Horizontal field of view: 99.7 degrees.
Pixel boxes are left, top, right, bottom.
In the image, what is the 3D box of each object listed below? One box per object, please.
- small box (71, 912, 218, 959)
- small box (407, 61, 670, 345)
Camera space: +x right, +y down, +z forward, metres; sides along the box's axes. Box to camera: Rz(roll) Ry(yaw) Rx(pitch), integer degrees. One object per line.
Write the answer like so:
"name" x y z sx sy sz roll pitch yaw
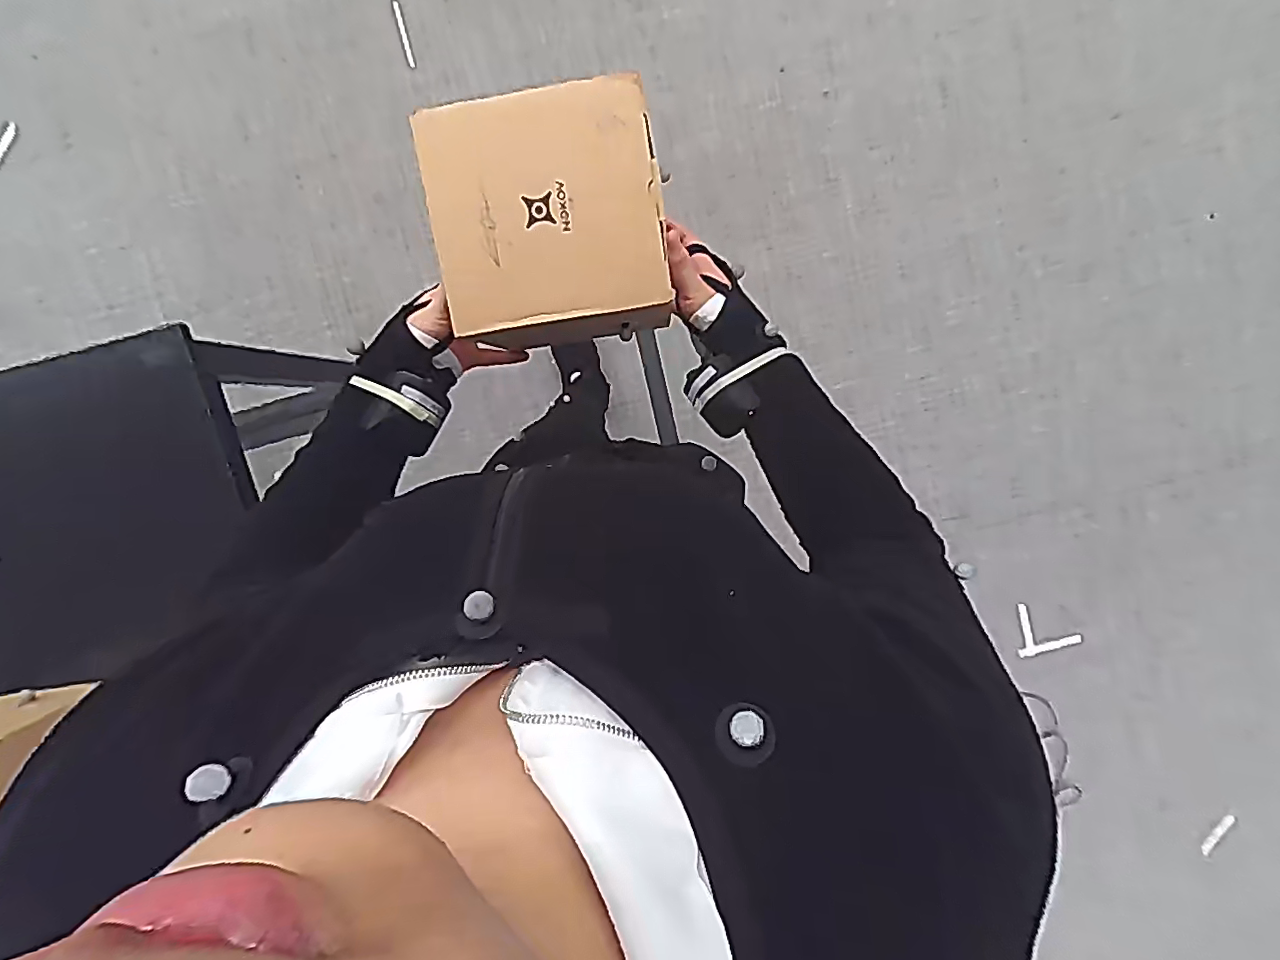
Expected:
"small box" -0.736 0.760 0.766 0.179 0.176 0.168 -11 95 3
"small box" -0.072 -0.222 0.483 0.179 0.176 0.168 -9 98 4
